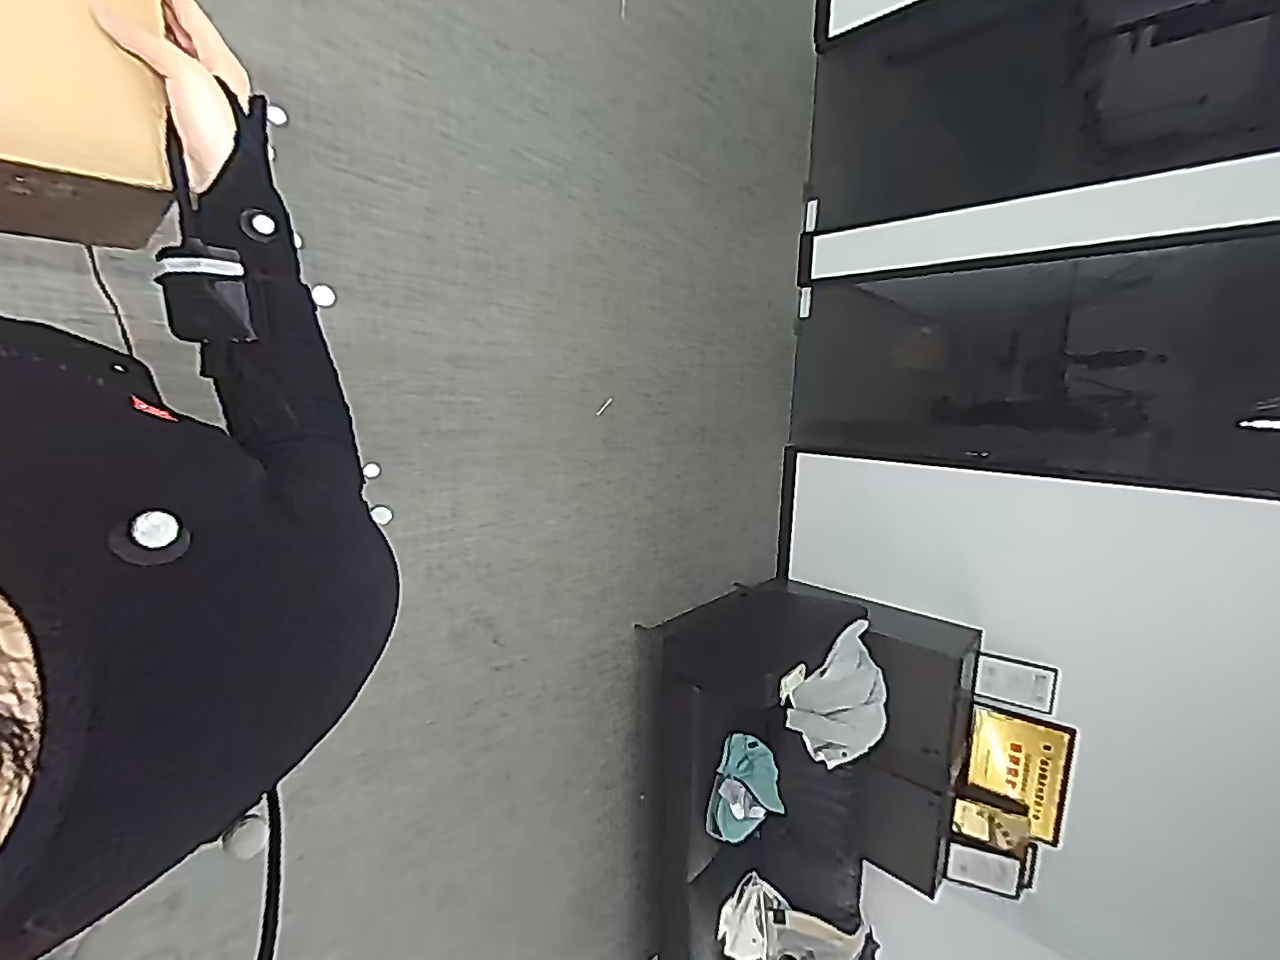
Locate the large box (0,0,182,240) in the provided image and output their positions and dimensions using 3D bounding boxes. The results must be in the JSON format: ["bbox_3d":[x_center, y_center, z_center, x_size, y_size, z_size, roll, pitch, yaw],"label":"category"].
[{"bbox_3d":[-0.570,-0.353,0.312,0.408,0.320,0.320,-12,108,-46],"label":"large box"}]
